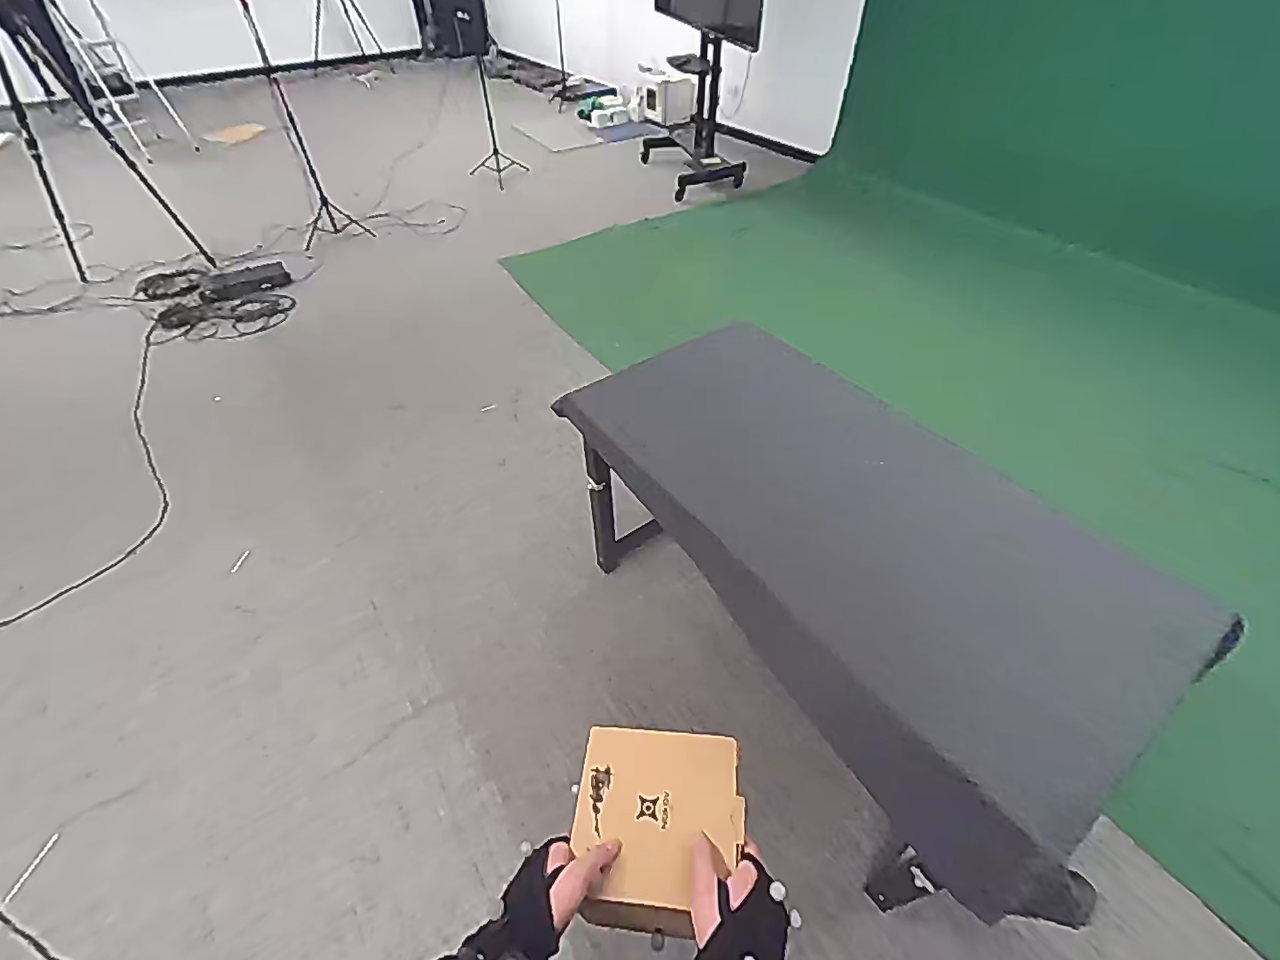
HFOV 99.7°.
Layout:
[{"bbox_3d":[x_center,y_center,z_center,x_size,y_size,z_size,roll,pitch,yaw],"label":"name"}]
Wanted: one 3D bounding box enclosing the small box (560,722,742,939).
[{"bbox_3d":[0.022,0.405,0.625,0.179,0.176,0.168,3,43,8],"label":"small box"}]
